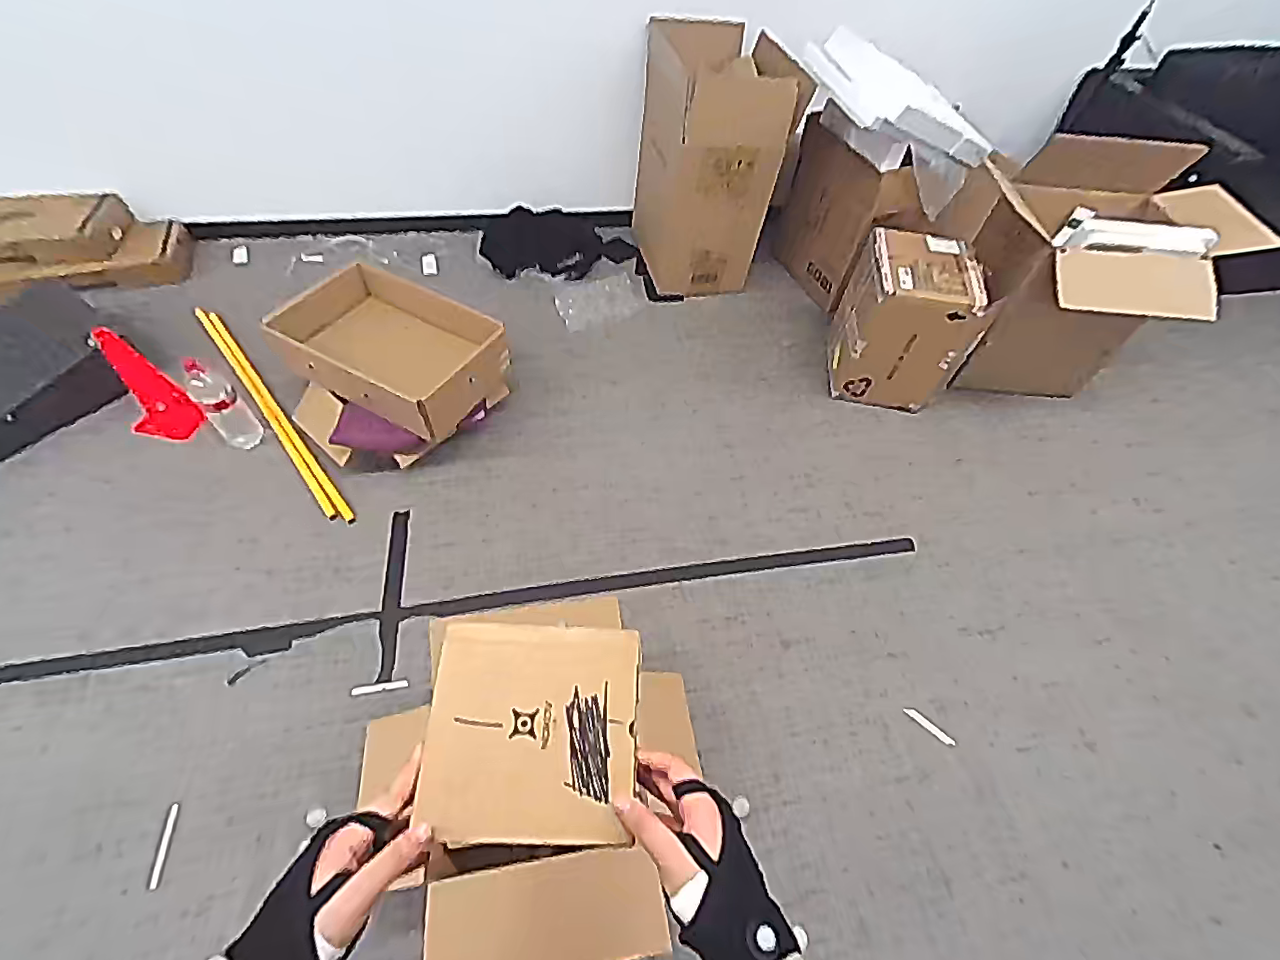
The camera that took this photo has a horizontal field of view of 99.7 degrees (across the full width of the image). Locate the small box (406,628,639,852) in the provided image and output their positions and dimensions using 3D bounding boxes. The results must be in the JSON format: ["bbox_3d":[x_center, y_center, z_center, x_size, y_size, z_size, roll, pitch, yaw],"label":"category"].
[{"bbox_3d":[-0.095,0.247,0.522,0.179,0.176,0.168,3,61,-2],"label":"small box"}]
